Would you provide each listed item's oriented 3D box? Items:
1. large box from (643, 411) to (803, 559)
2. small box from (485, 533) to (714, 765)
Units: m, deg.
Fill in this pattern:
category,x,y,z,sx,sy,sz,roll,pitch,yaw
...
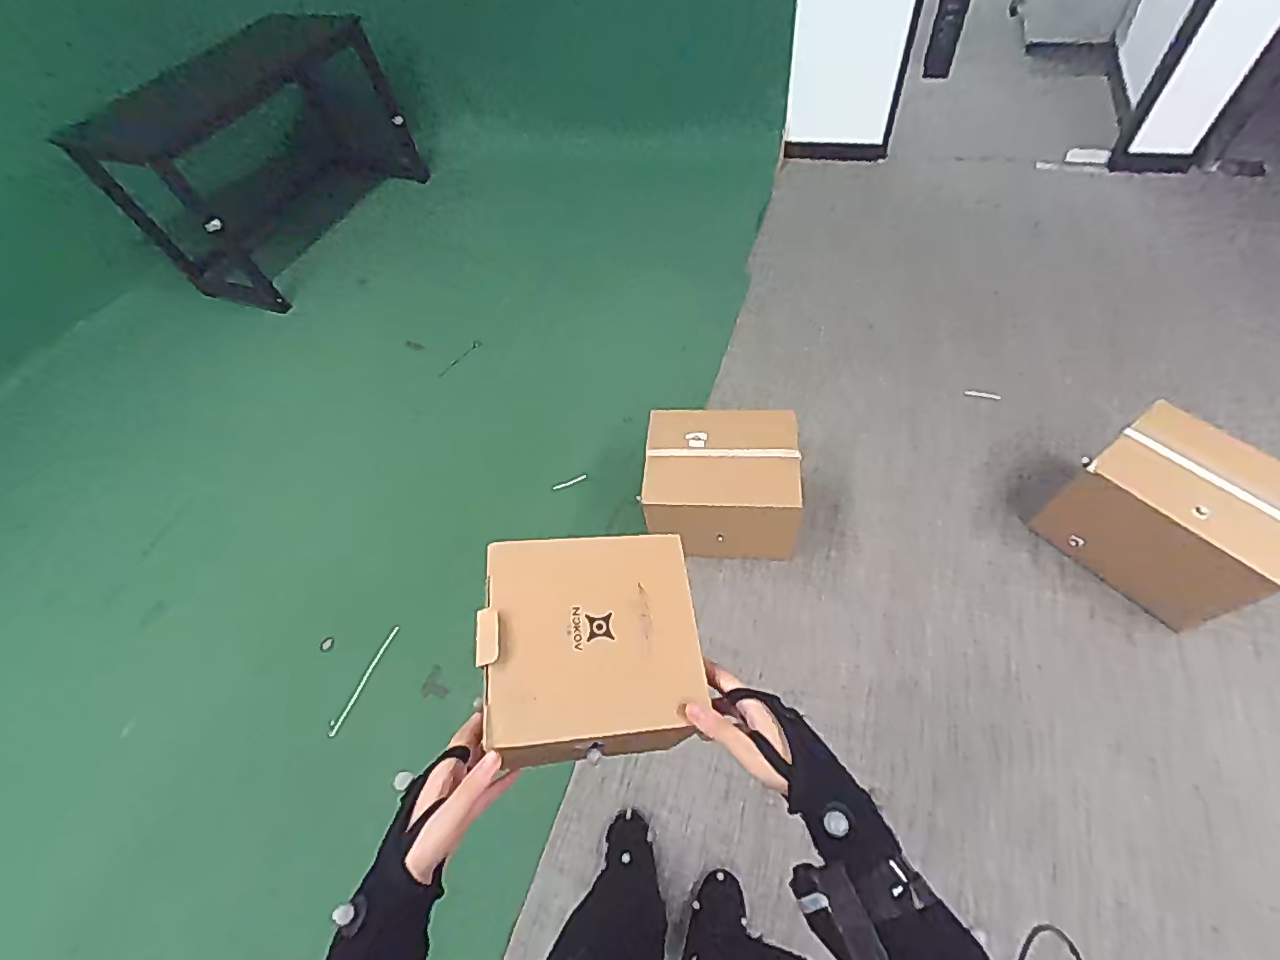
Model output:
category,x,y,z,sx,sy,sz,roll,pitch,yaw
large box,0.238,0.024,1.545,0.408,0.320,0.320,0,56,10
small box,-0.047,0.163,0.511,0.179,0.176,0.168,-1,58,-11
